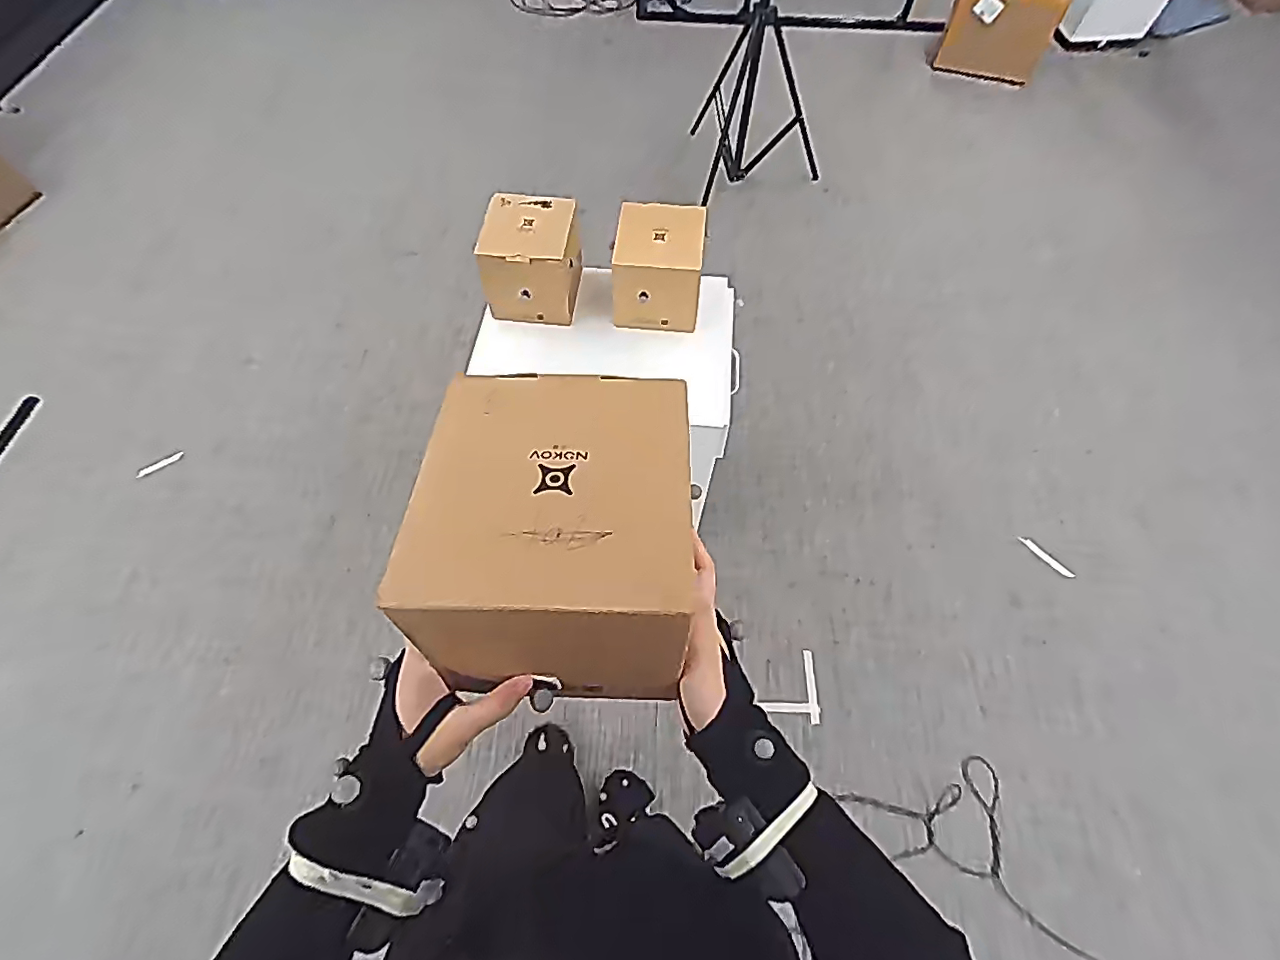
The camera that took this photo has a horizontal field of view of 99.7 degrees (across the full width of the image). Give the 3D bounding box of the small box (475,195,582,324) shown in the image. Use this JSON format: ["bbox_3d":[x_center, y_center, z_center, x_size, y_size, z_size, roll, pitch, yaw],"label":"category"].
[{"bbox_3d":[-0.213,-0.437,1.089,0.168,0.176,0.179,5,64,1],"label":"small box"}]

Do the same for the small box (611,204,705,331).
[{"bbox_3d":[0.037,-0.419,1.083,0.168,0.176,0.179,5,63,3],"label":"small box"}]

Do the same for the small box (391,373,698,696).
[{"bbox_3d":[-0.049,0.043,0.396,0.168,0.176,0.179,0,54,1],"label":"small box"}]
